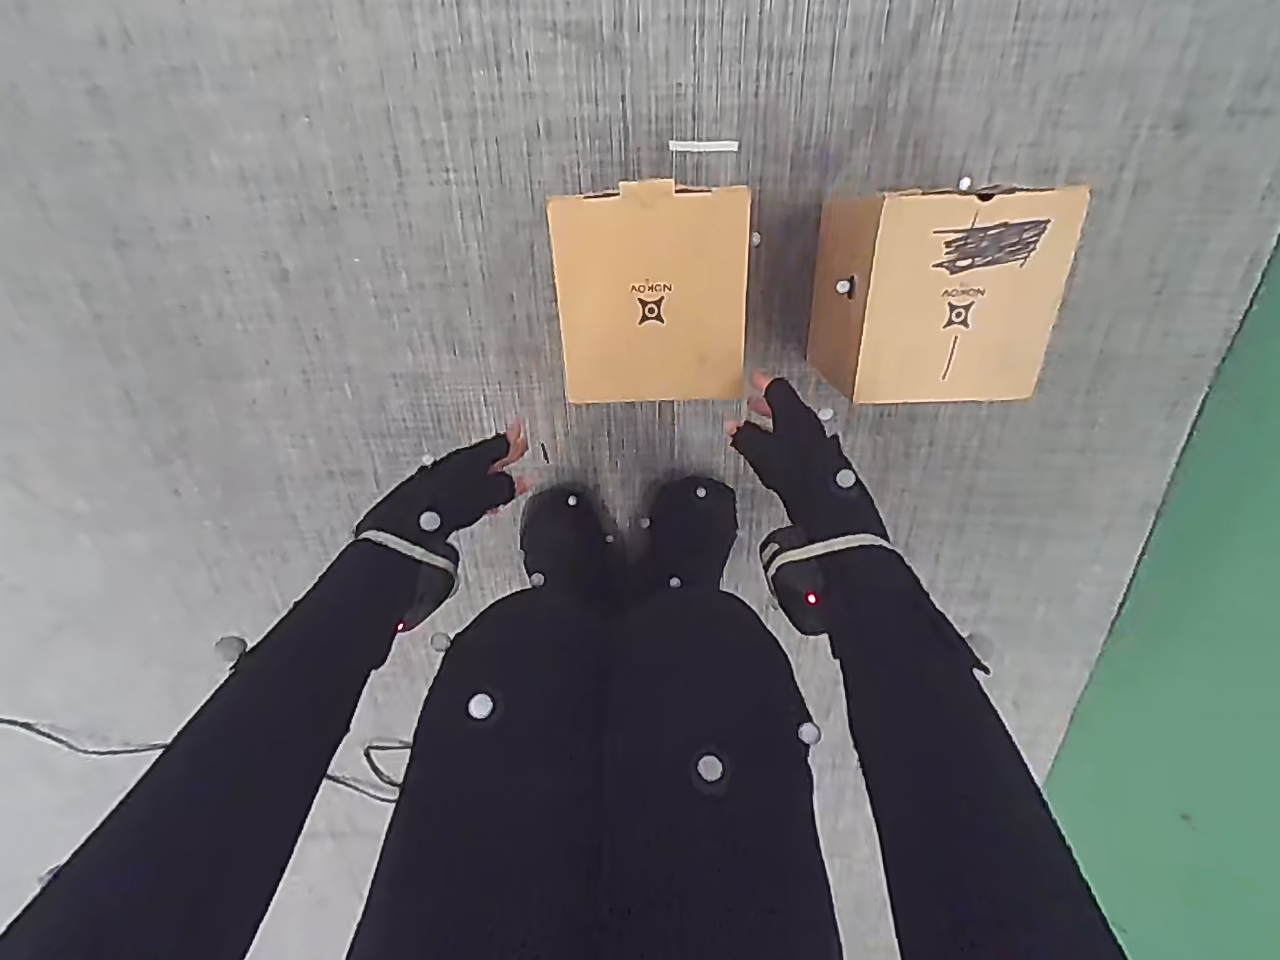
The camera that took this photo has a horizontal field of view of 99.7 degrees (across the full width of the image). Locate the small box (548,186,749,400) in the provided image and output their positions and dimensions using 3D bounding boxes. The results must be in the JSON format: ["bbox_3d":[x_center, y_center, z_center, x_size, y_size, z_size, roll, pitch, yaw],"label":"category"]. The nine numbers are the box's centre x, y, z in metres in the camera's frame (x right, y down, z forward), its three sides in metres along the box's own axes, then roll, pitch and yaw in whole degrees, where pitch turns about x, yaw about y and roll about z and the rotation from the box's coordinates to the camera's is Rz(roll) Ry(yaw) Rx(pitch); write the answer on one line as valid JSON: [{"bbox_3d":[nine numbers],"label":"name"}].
[{"bbox_3d":[0.010,-0.191,0.542,0.168,0.176,0.179,-3,116,1],"label":"small box"}]

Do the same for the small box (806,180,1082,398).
[{"bbox_3d":[0.274,-0.191,0.538,0.168,0.176,0.179,-2,116,1],"label":"small box"}]
